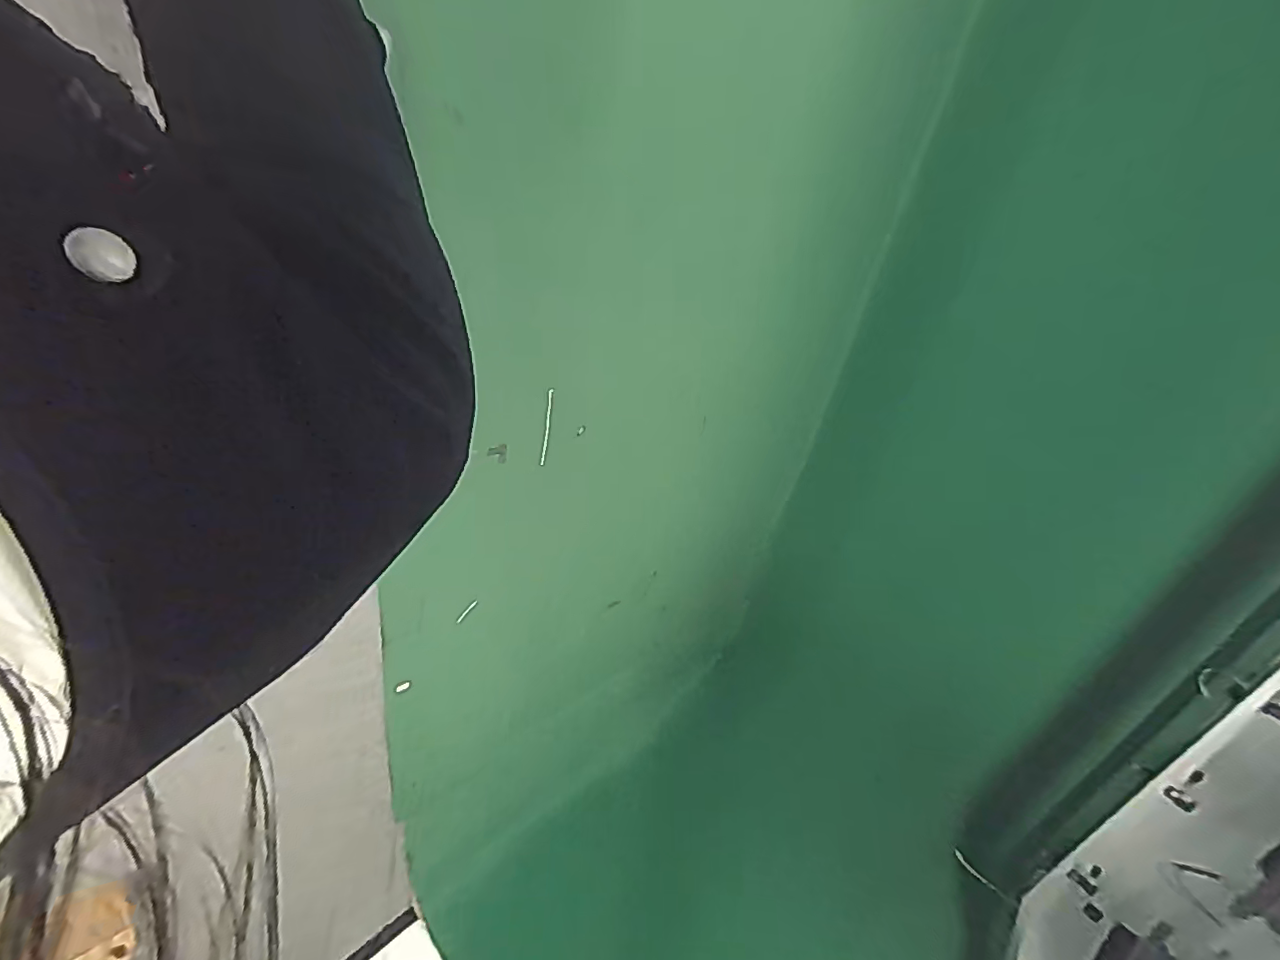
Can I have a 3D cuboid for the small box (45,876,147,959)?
[{"bbox_3d":[-1.592,1.322,1.583,0.179,0.176,0.168,-17,130,-44],"label":"small box"}]
